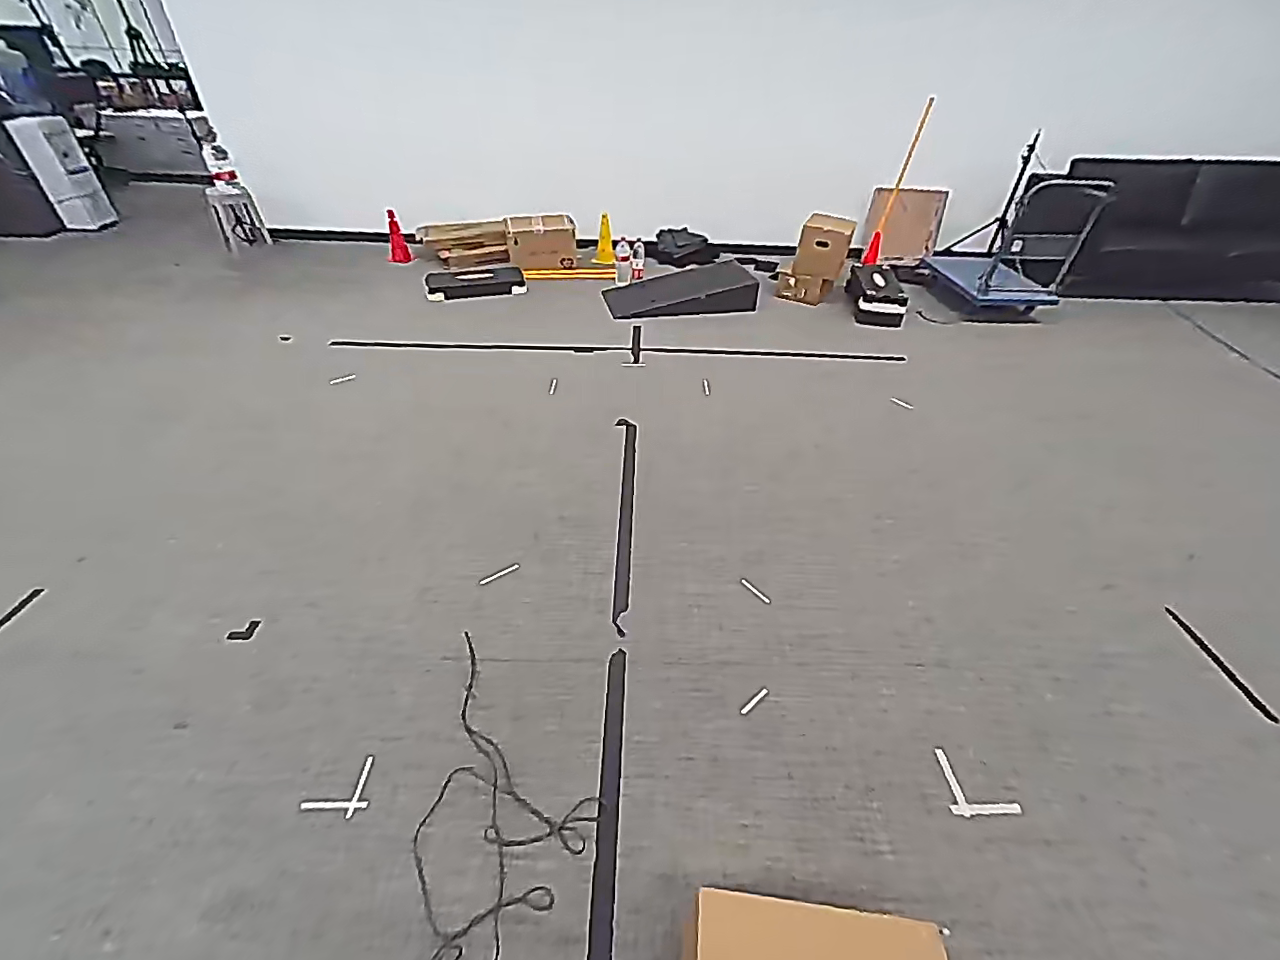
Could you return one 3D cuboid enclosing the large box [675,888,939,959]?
[{"bbox_3d":[0.264,0.930,0.889,0.408,0.320,0.320,7,39,3],"label":"large box"}]
